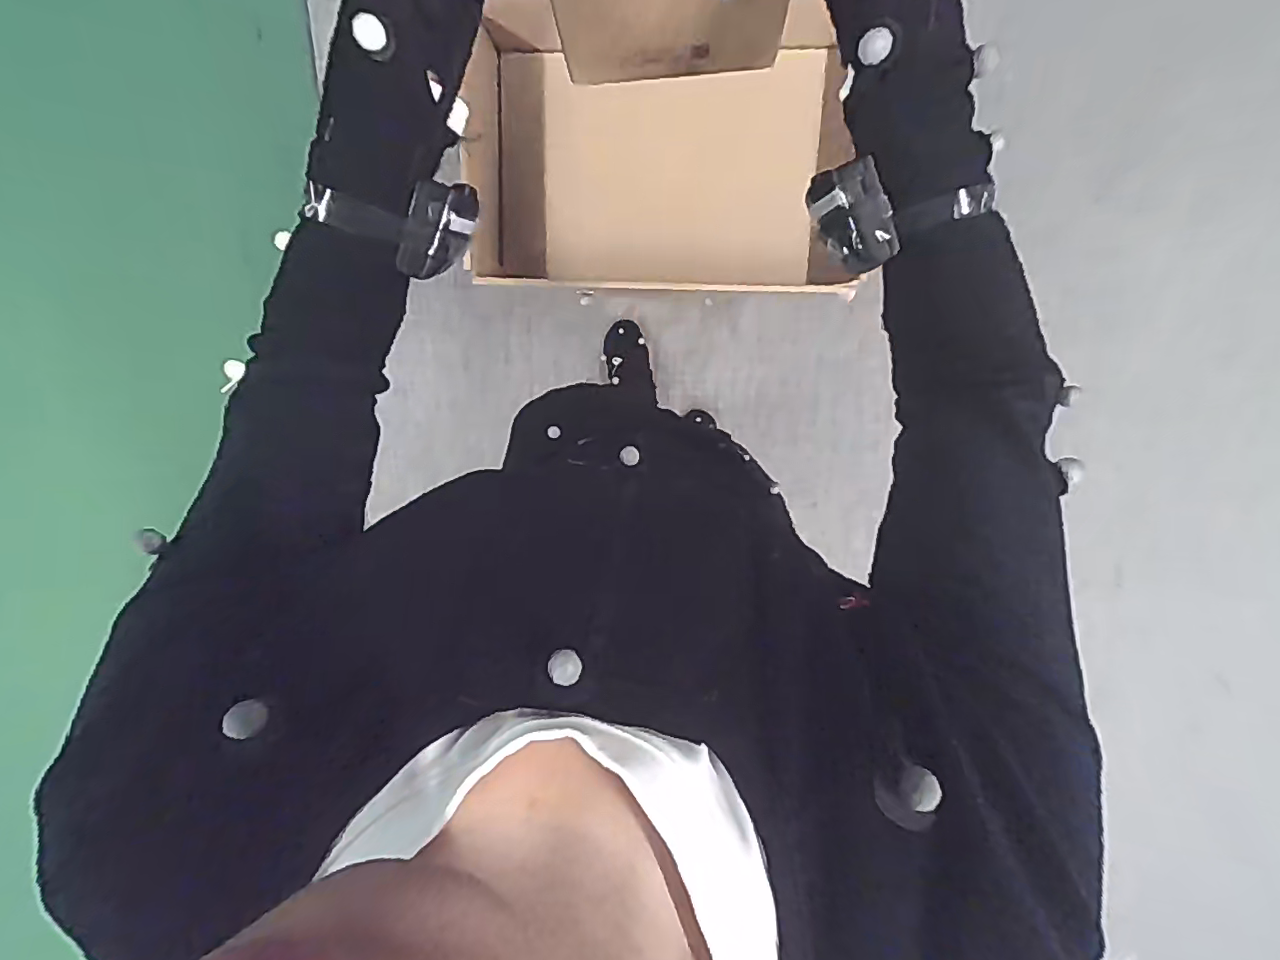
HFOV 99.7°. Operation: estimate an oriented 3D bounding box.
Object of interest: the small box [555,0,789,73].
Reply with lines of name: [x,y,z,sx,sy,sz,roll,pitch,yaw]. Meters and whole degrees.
small box: [0.019,-0.407,0.355,0.168,0.176,0.179,-2,88,3]
